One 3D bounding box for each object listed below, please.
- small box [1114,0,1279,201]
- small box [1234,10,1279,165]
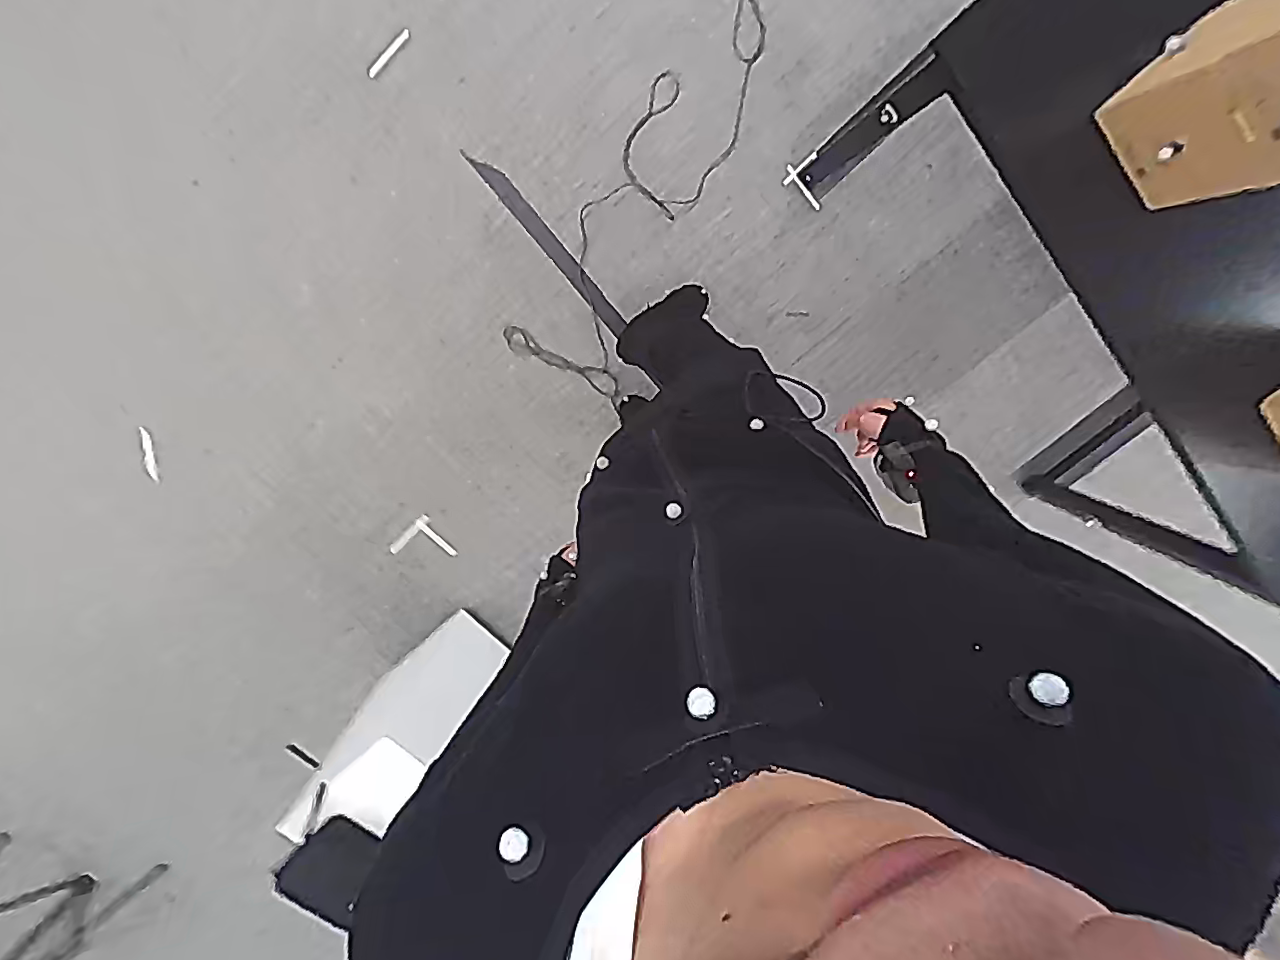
[{"bbox_3d":[0.737,-0.474,0.655,0.179,0.176,0.168,-42,103,12],"label":"small box"},{"bbox_3d":[0.740,-0.428,0.497,0.179,0.176,0.168,-42,102,11],"label":"small box"}]
